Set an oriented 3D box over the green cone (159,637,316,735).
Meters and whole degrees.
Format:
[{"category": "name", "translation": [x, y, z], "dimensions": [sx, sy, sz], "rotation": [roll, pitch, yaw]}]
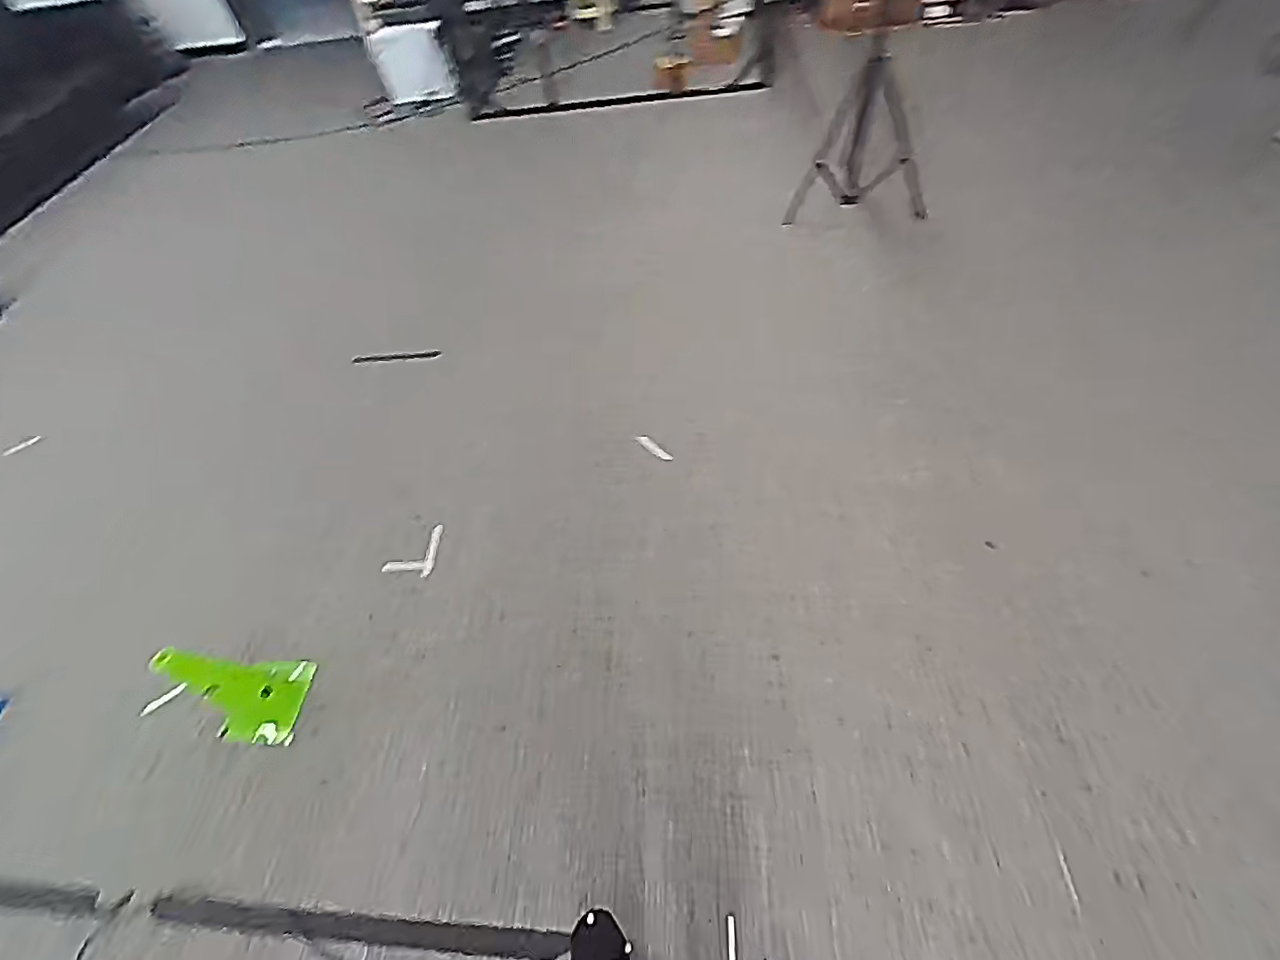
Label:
[{"category": "green cone", "translation": [-1.023, 0.478, 1.334], "dimensions": [0.200, 0.368, 0.202], "rotation": [0, 53, 8]}]
